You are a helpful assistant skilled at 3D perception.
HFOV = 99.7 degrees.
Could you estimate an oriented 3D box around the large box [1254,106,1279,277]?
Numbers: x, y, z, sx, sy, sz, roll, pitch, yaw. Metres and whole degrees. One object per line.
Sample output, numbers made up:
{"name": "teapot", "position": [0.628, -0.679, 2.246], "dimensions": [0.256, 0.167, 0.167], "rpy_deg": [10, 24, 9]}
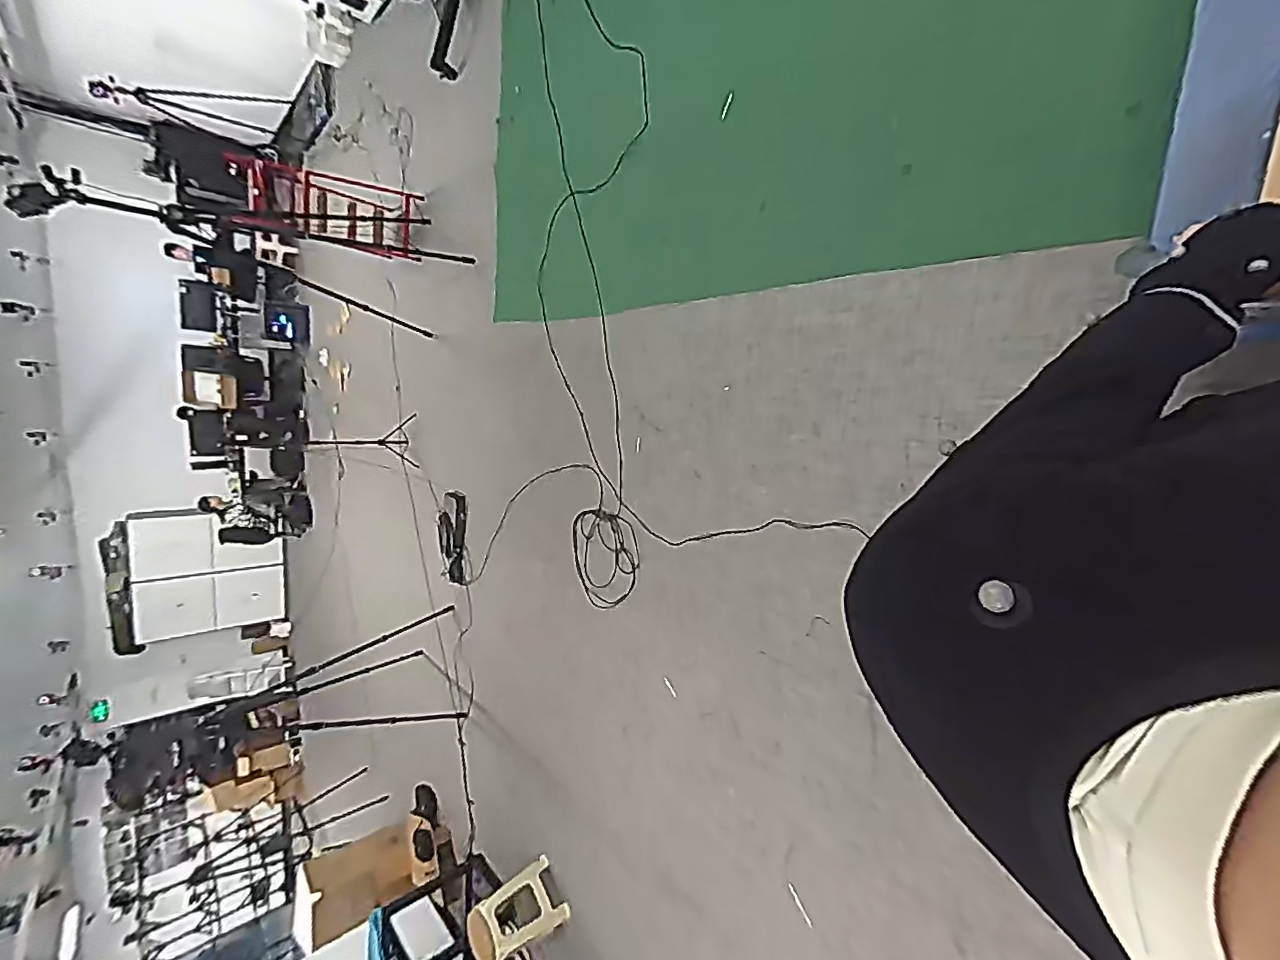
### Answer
{"name": "large box", "position": [1.126, -0.535, 0.753], "dimensions": [0.320, 0.320, 0.408], "rpy_deg": [14, 103, 46]}
